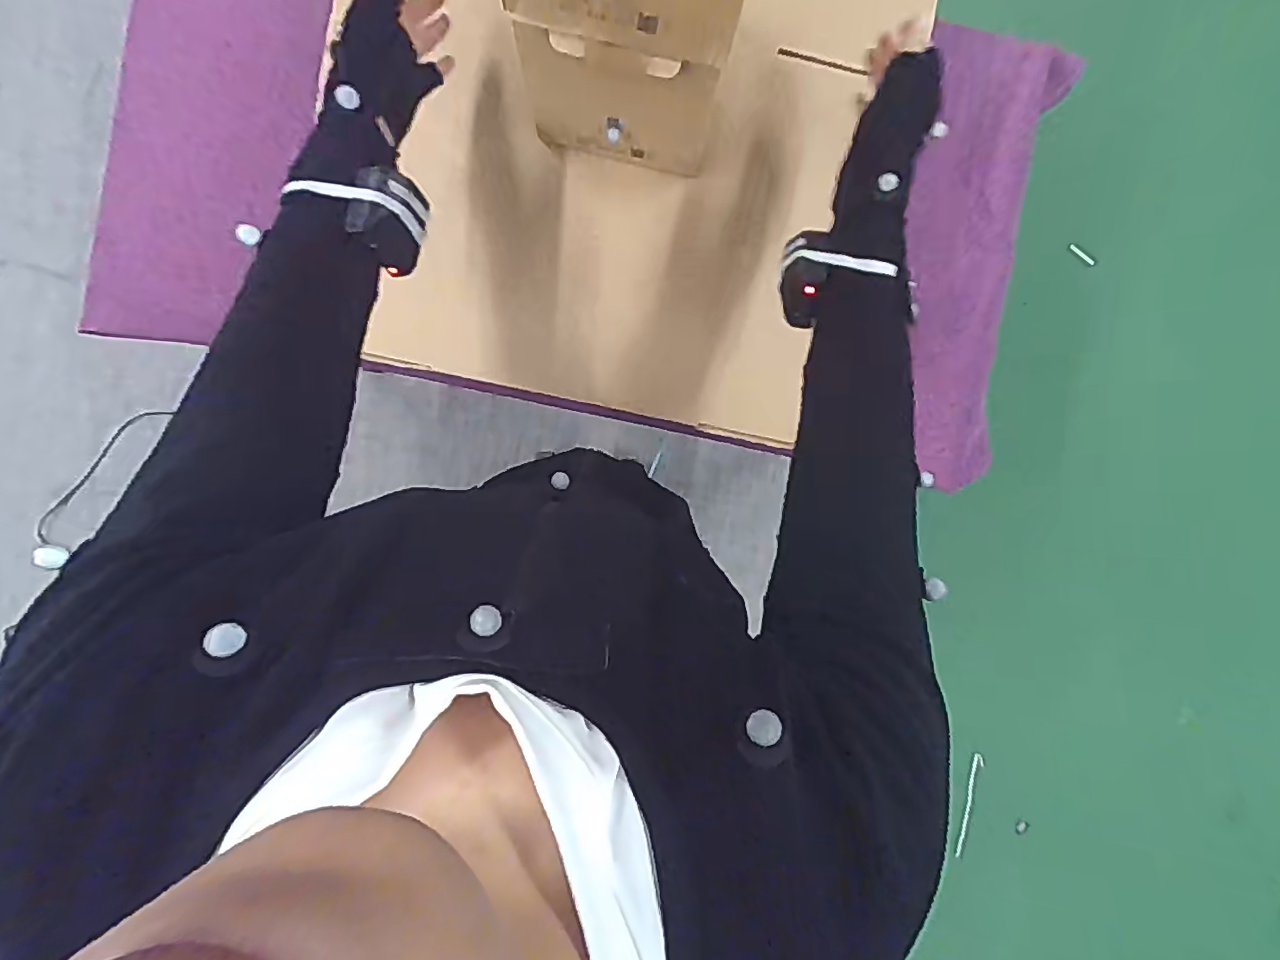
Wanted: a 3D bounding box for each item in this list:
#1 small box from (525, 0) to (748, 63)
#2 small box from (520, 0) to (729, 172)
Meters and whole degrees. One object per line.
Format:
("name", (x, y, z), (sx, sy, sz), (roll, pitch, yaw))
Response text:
("small box", (0.008, -0.406, 0.317), (0.168, 0.176, 0.179), (10, 92, -3))
("small box", (0.001, -0.419, 0.479), (0.168, 0.176, 0.179), (13, 91, -3))
